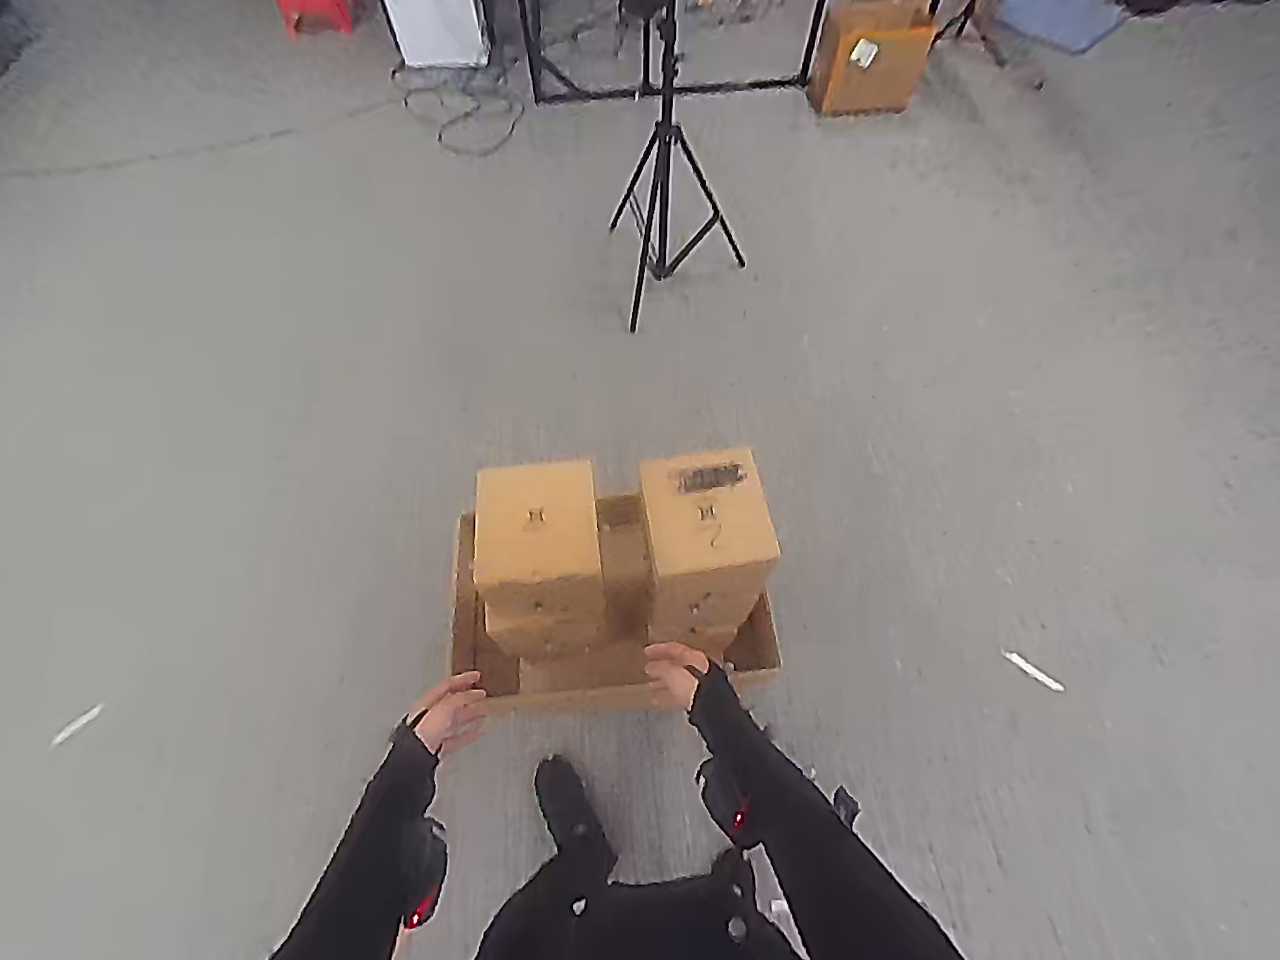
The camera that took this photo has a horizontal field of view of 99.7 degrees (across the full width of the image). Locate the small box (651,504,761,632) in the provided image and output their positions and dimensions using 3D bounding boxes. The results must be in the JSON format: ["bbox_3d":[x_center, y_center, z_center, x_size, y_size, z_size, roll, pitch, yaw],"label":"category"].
[{"bbox_3d":[0.106,0.158,0.953,0.168,0.176,0.179,-3,61,-1],"label":"small box"}]

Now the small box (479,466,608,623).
[{"bbox_3d":[-0.137,0.099,0.808,0.168,0.176,0.179,-6,61,-5],"label":"small box"}]

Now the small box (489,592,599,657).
[{"bbox_3d":[-0.164,0.193,0.942,0.168,0.176,0.179,-8,62,-6],"label":"small box"}]
